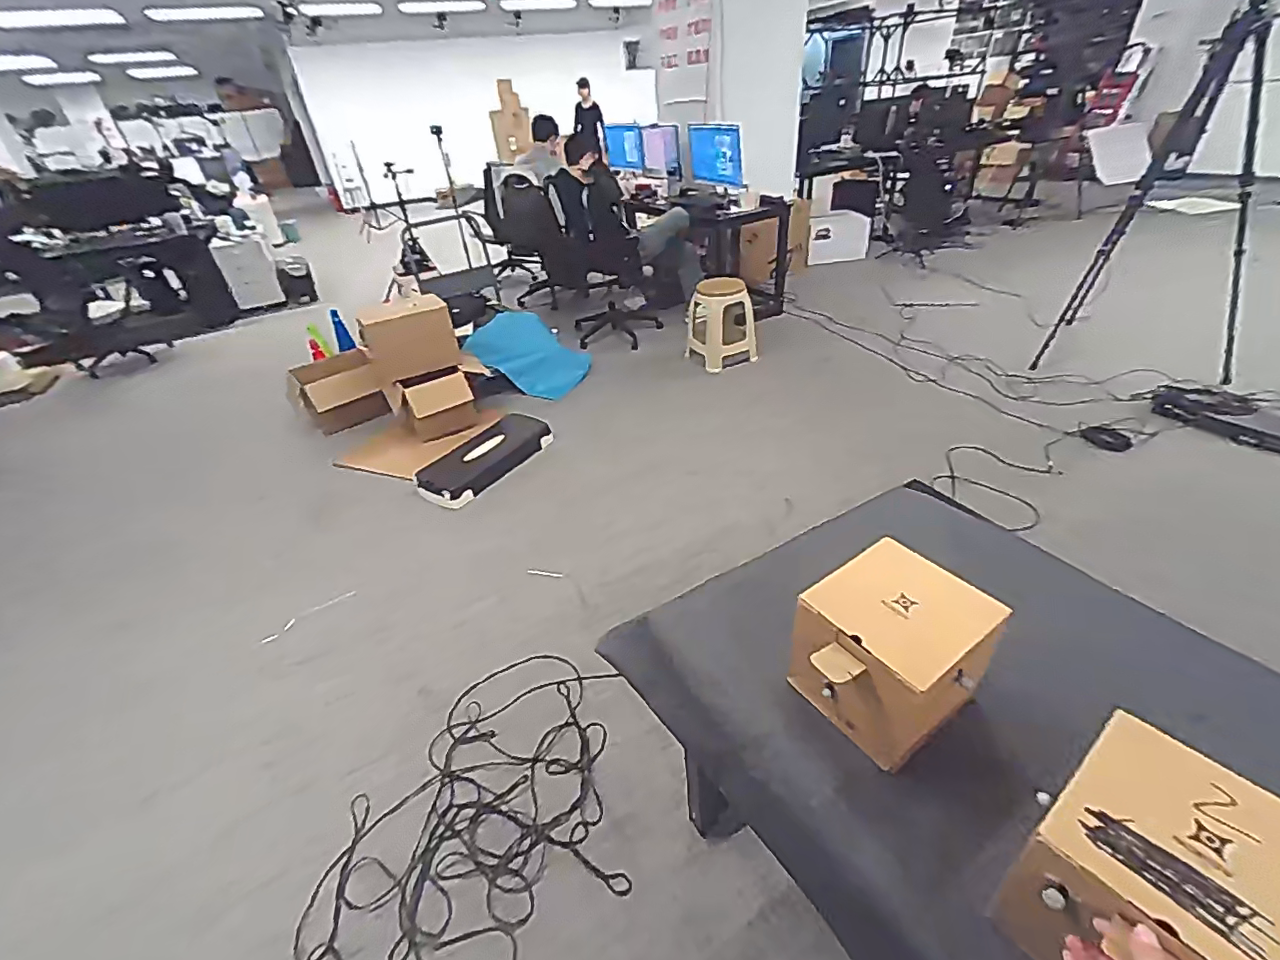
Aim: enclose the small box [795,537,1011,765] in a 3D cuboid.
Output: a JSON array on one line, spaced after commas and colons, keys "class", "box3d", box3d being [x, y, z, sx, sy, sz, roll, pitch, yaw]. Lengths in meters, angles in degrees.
[{"class": "small box", "box3d": [0.314, 0.209, 0.681, 0.179, 0.176, 0.168, -25, 40, -25]}]
